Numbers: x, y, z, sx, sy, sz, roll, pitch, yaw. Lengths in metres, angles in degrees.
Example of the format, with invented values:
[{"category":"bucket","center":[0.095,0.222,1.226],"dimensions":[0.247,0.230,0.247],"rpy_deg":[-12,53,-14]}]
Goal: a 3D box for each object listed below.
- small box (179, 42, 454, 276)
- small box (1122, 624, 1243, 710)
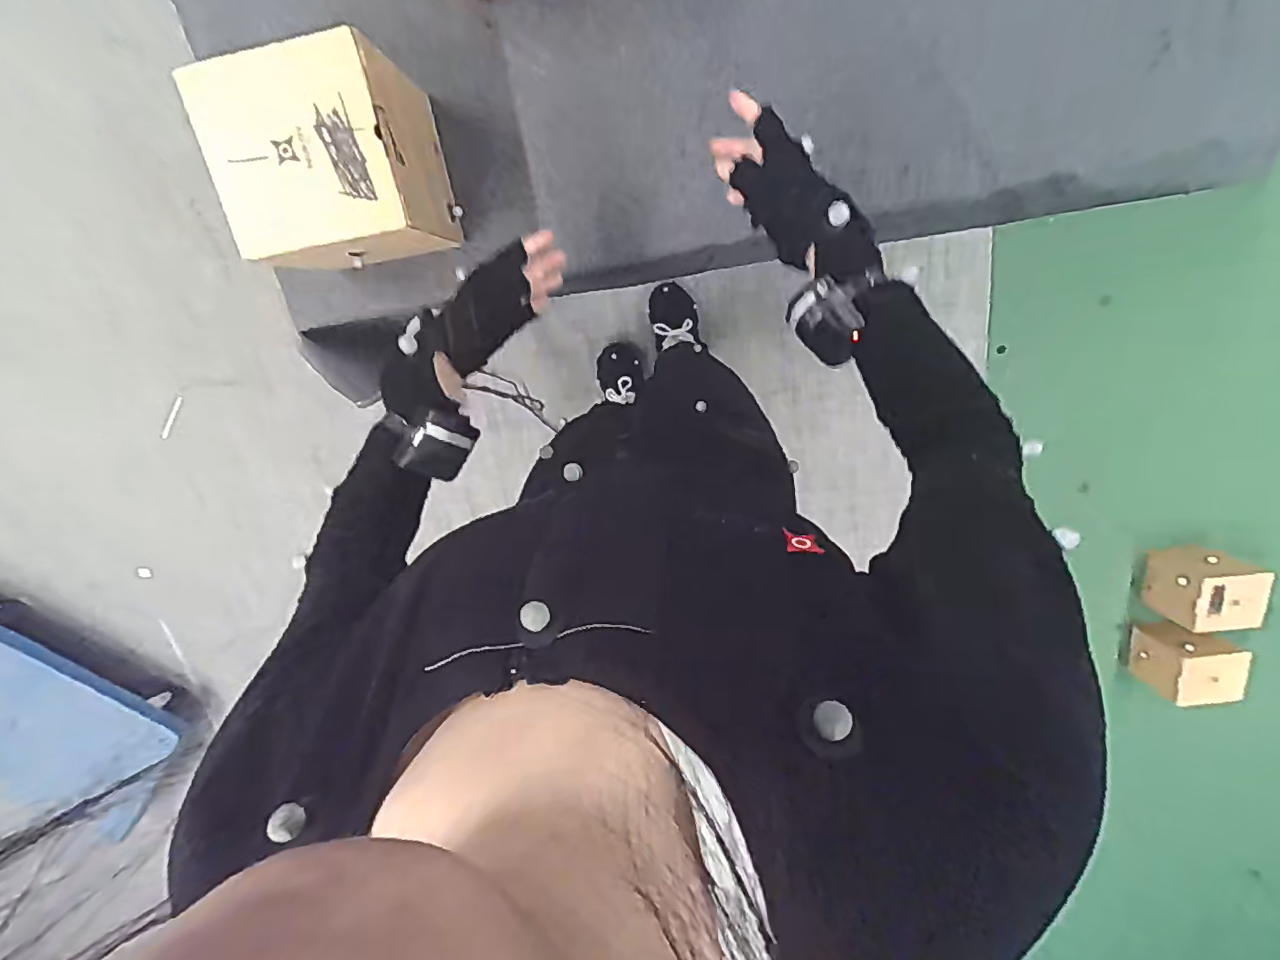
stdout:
[{"category":"small box","center":[-0.319,-0.324,0.583],"dimensions":[0.179,0.176,0.168],"rpy_deg":[-9,107,4]},{"category":"small box","center":[1.574,0.540,1.579],"dimensions":[0.179,0.176,0.168],"rpy_deg":[-9,107,5]}]
